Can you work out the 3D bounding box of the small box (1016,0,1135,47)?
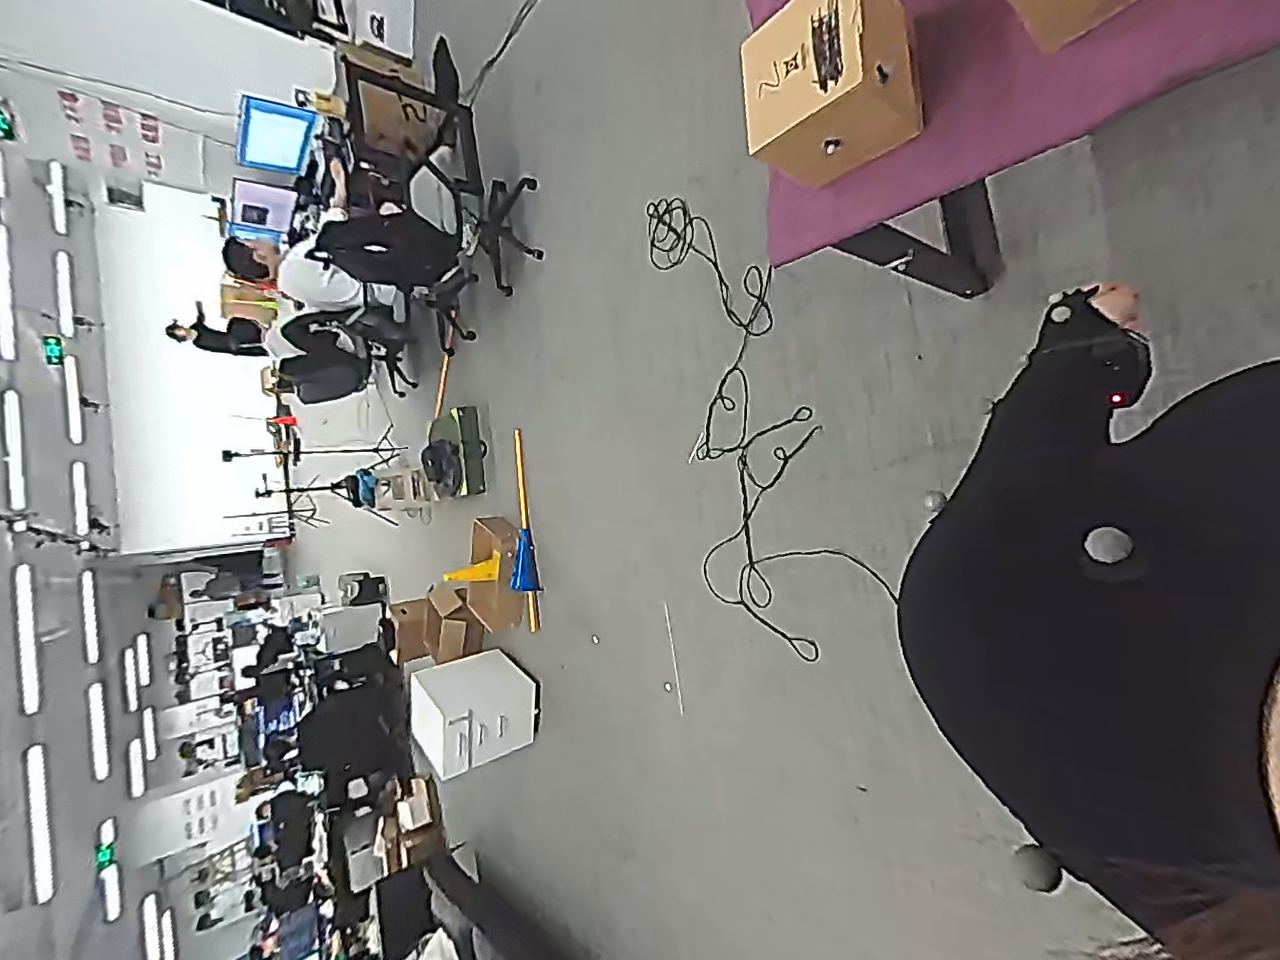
[{"bbox_3d":[0.459,-0.597,0.536,0.168,0.176,0.179,-14,82,50],"label":"small box"}]
